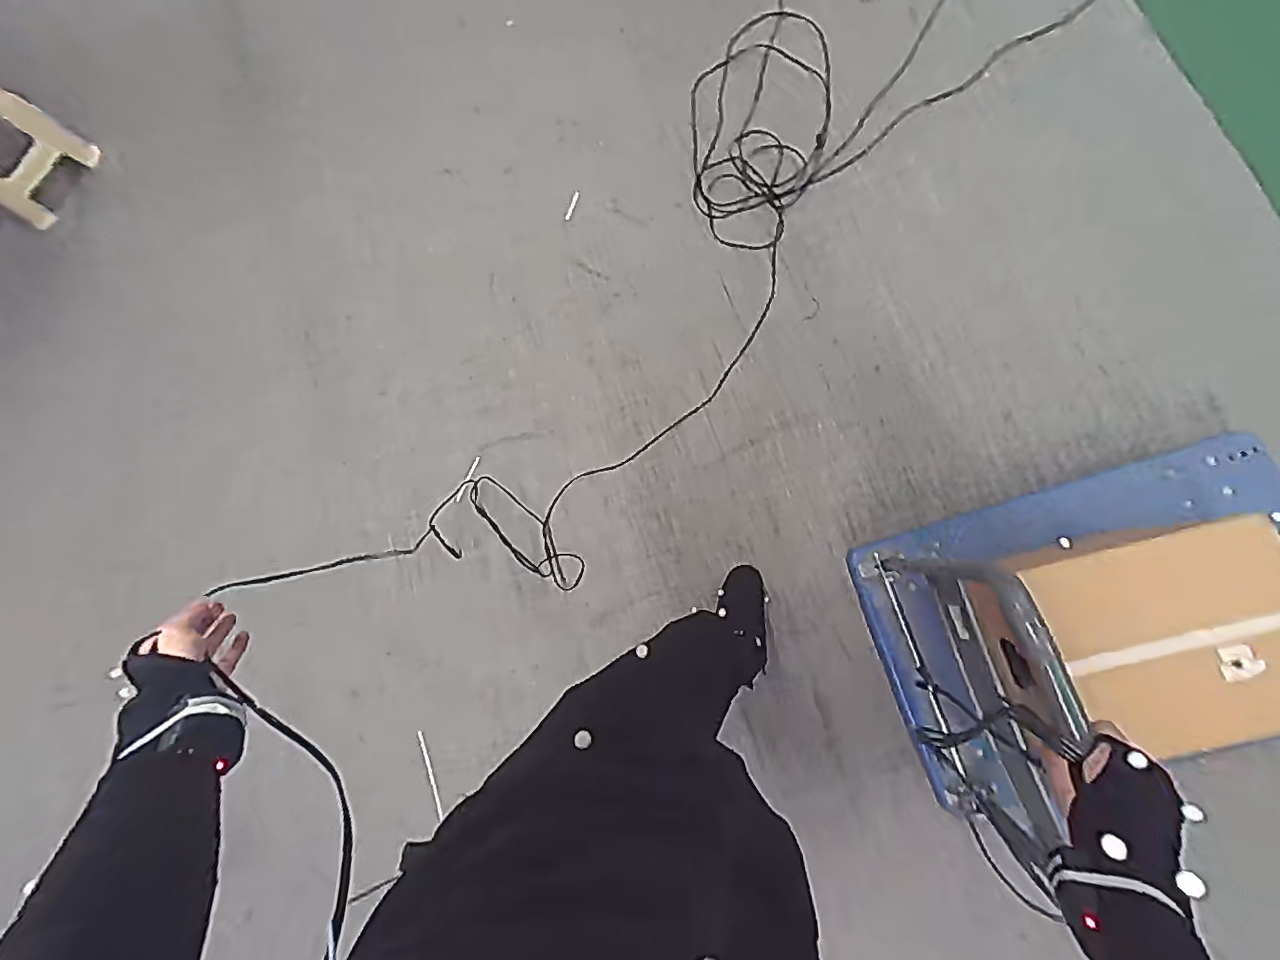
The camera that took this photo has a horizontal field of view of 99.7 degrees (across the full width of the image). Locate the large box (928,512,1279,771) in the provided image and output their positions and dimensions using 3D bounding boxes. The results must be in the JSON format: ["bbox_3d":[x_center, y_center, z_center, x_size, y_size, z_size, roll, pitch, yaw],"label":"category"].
[{"bbox_3d":[0.829,0.276,0.987,0.408,0.320,0.320,-16,79,5],"label":"large box"}]
